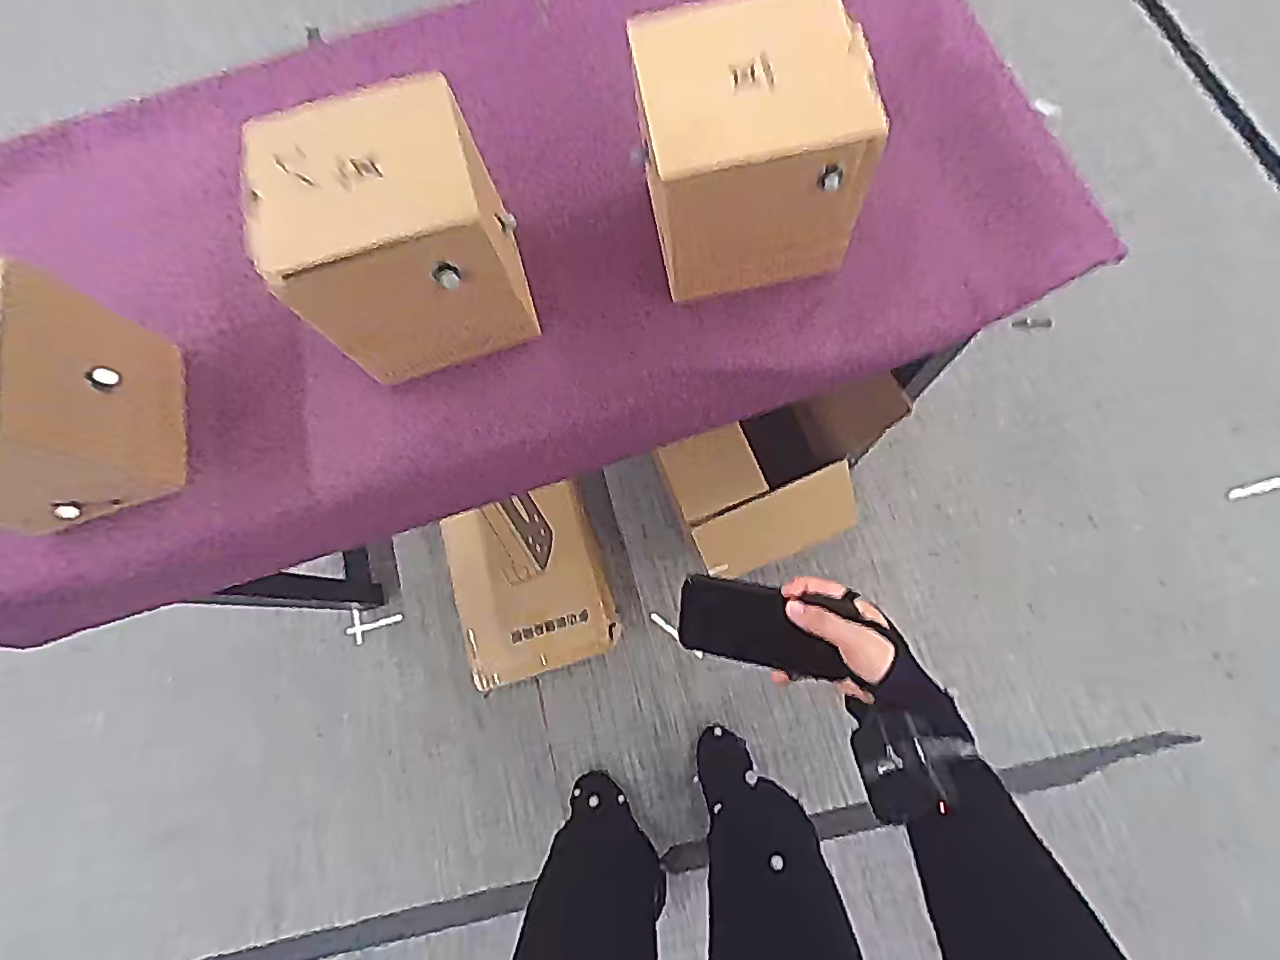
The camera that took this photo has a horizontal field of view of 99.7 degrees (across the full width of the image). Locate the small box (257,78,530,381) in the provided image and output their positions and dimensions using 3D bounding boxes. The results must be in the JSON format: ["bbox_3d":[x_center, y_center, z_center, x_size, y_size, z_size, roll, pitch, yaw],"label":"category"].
[{"bbox_3d":[-0.216,-0.222,0.515,0.179,0.176,0.168,-18,71,1],"label":"small box"}]

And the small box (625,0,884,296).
[{"bbox_3d":[0.094,-0.297,0.503,0.179,0.176,0.168,-11,74,3],"label":"small box"}]
